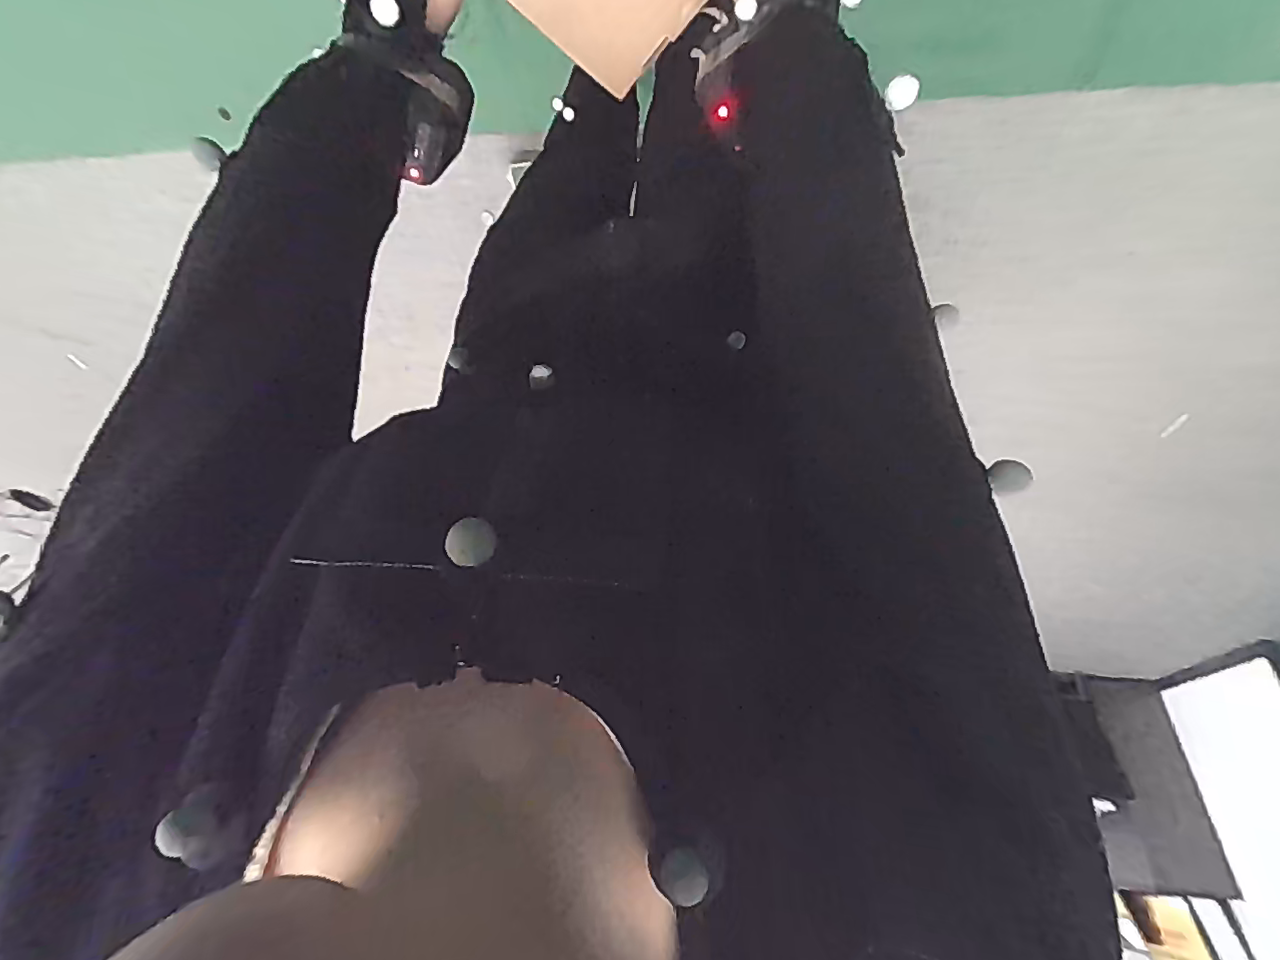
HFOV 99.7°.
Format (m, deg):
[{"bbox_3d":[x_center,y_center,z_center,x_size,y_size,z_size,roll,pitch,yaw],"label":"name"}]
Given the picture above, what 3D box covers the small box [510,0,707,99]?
[{"bbox_3d":[-0.023,-0.441,0.384,0.179,0.176,0.168,22,147,-35],"label":"small box"}]
